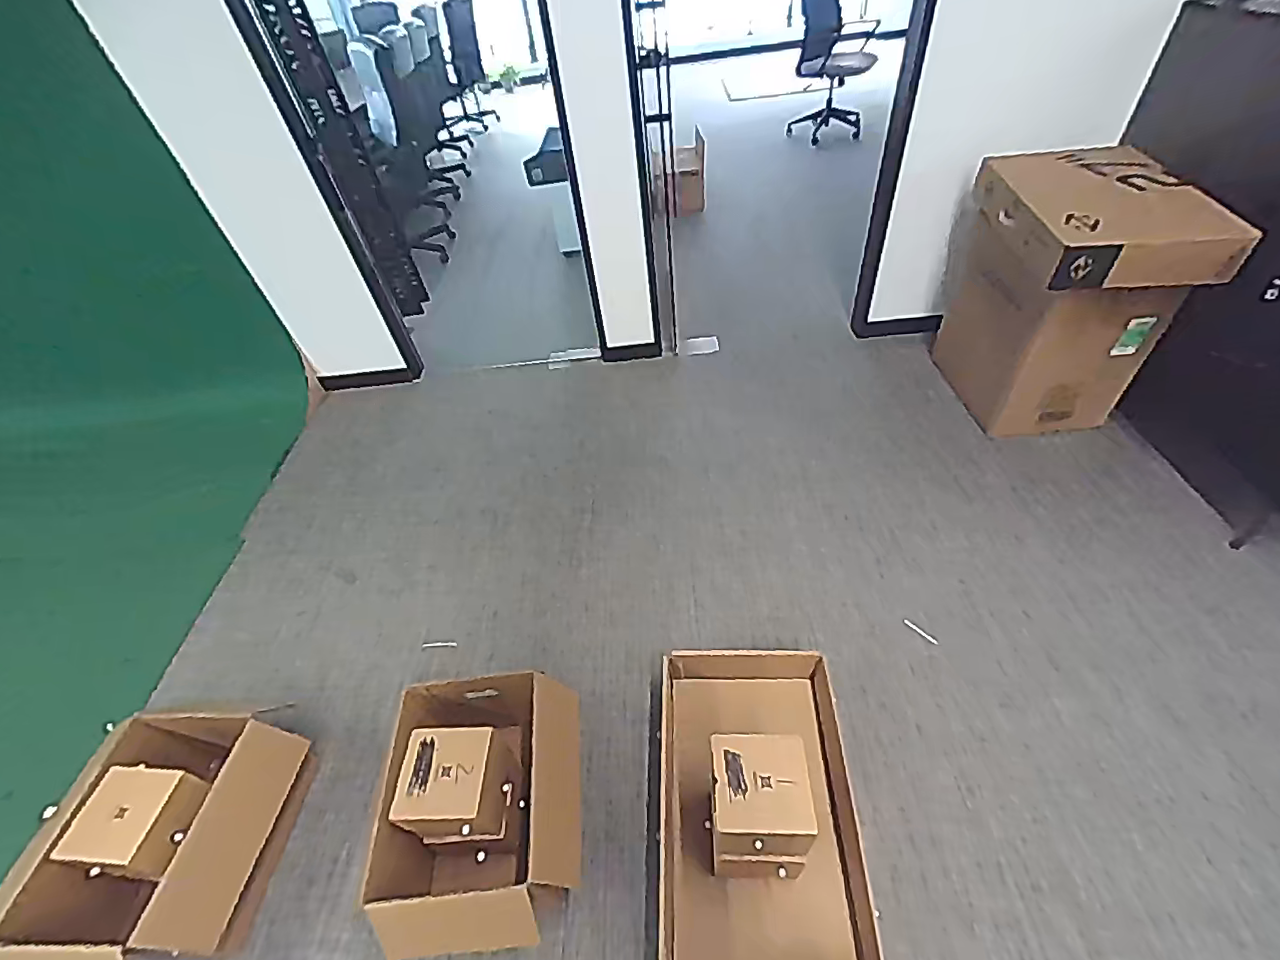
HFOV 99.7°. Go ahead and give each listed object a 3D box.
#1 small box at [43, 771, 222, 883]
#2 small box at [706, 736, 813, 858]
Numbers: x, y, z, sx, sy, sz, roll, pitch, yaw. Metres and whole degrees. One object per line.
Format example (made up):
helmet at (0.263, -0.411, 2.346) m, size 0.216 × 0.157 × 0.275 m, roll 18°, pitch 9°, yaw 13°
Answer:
small box at (-1.041, 0.728, 1.131) m, size 0.179 × 0.176 × 0.168 m, roll 0°, pitch 45°, yaw 6°
small box at (0.219, 0.611, 1.039) m, size 0.179 × 0.176 × 0.168 m, roll -2°, pitch 44°, yaw 4°
